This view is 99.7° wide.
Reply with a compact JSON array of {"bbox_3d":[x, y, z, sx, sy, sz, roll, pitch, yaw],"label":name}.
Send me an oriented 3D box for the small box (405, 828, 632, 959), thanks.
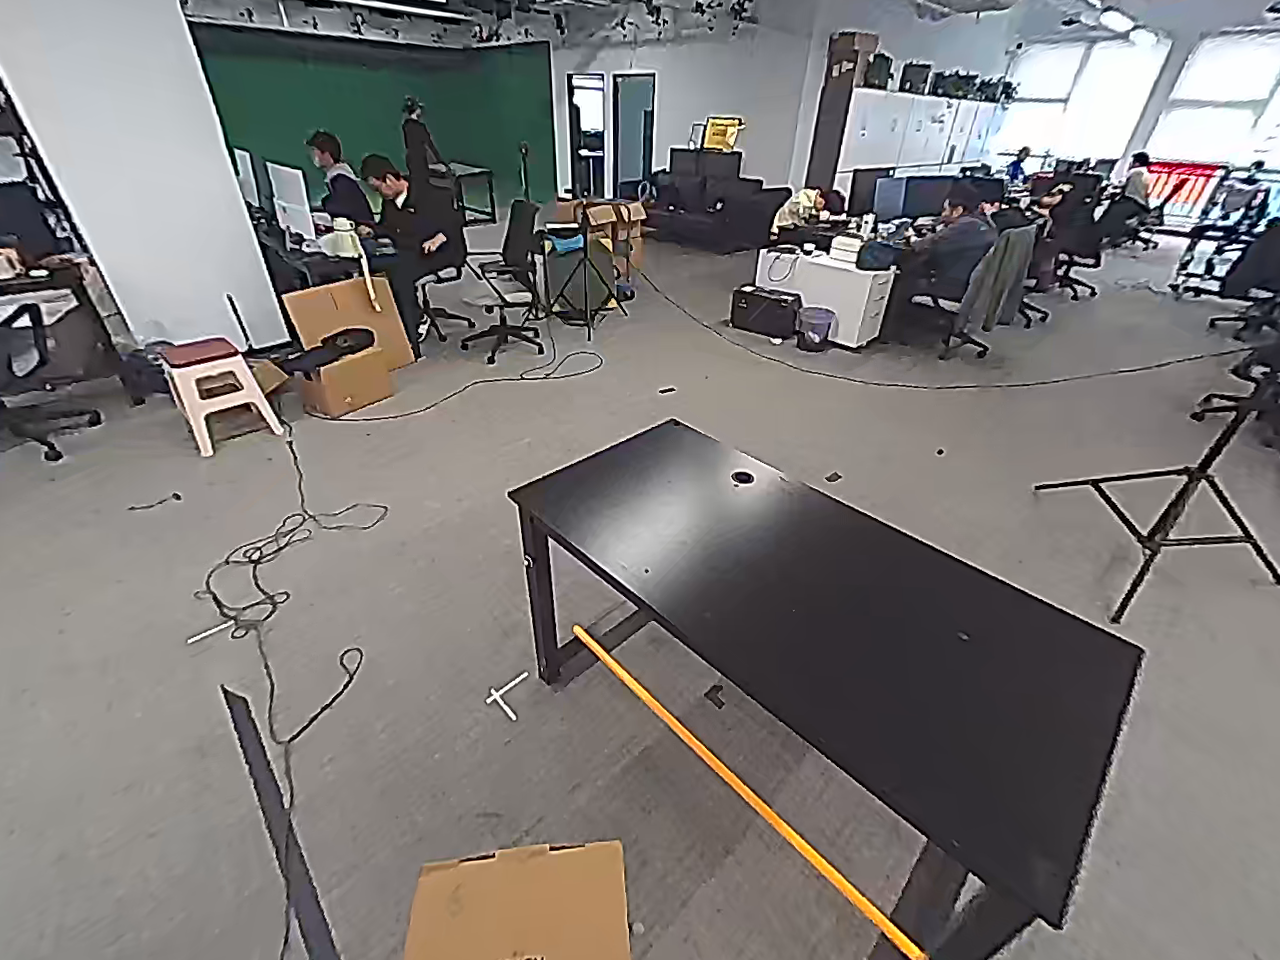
[{"bbox_3d":[-0.090,0.415,0.432,0.168,0.176,0.179,-3,38,-6],"label":"small box"}]
